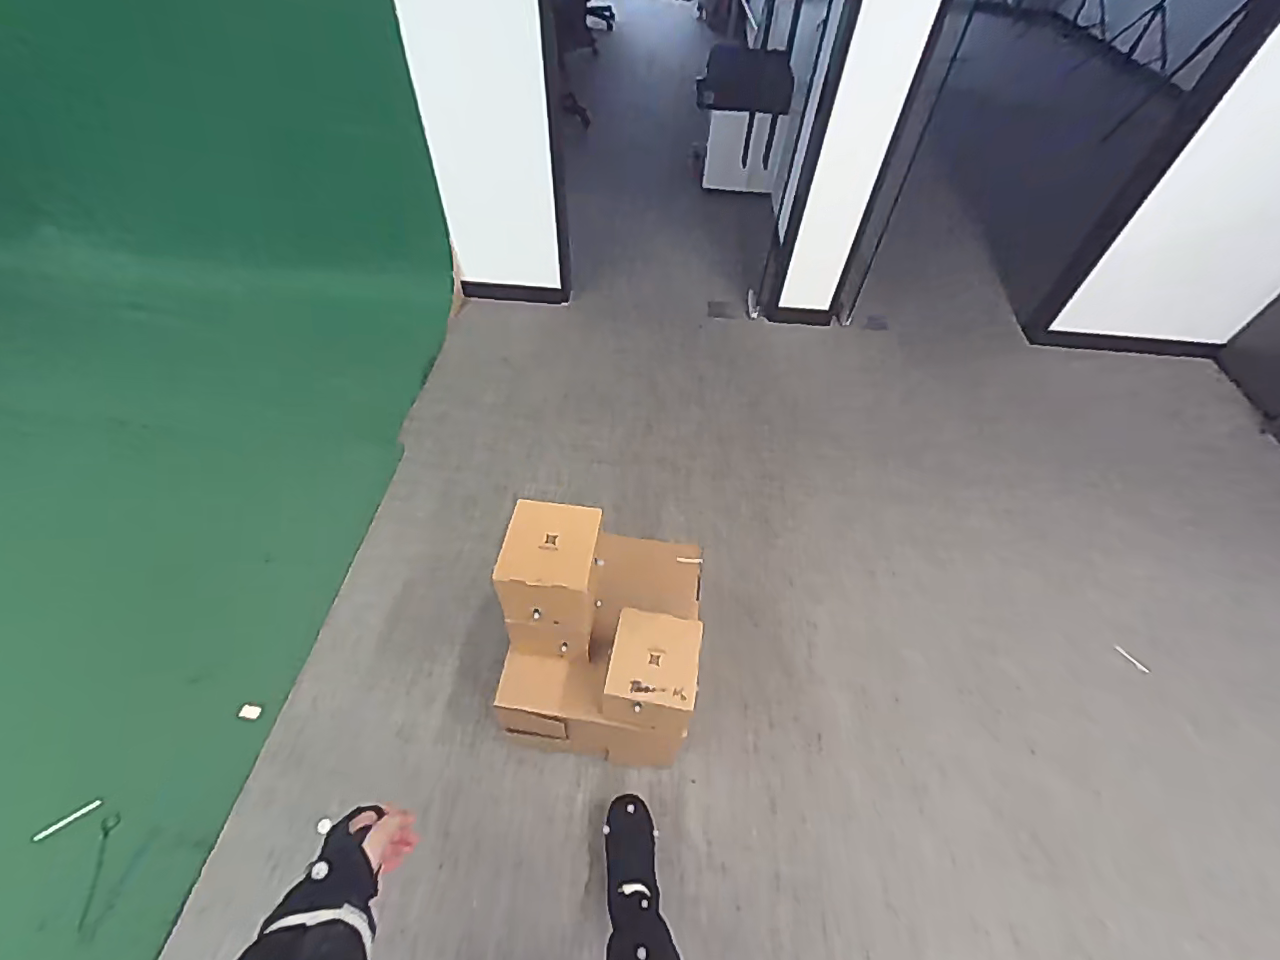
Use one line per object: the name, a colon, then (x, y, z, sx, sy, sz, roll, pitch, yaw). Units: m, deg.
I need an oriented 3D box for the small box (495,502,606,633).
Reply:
small box: (-0.162, 0.170, 1.036, 0.168, 0.176, 0.179, 8, 51, 4)

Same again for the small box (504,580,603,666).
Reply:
small box: (-0.174, 0.278, 1.159, 0.168, 0.176, 0.179, 8, 49, 4)

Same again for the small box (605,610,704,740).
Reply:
small box: (0.026, 0.388, 1.072, 0.168, 0.176, 0.179, 9, 49, 4)
